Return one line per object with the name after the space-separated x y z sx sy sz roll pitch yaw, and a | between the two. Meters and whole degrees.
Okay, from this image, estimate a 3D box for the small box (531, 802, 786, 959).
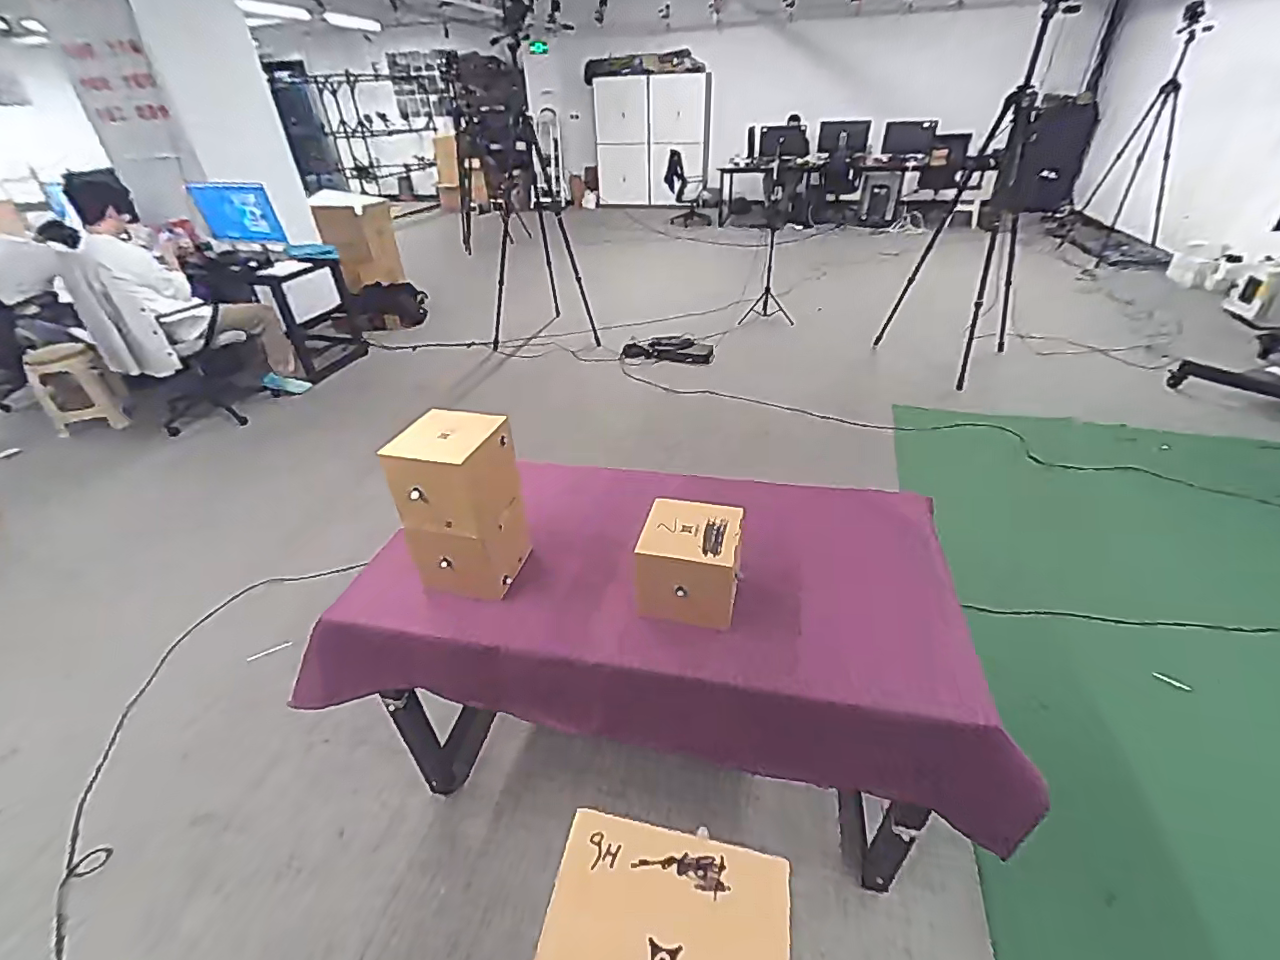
0.010 0.382 0.401 0.168 0.176 0.179 9 39 10 | small box

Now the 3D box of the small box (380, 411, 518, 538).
-0.344 -0.012 1.019 0.168 0.176 0.179 7 35 13 | small box

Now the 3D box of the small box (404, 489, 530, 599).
-0.342 0.123 1.110 0.179 0.176 0.168 6 35 13 | small box
